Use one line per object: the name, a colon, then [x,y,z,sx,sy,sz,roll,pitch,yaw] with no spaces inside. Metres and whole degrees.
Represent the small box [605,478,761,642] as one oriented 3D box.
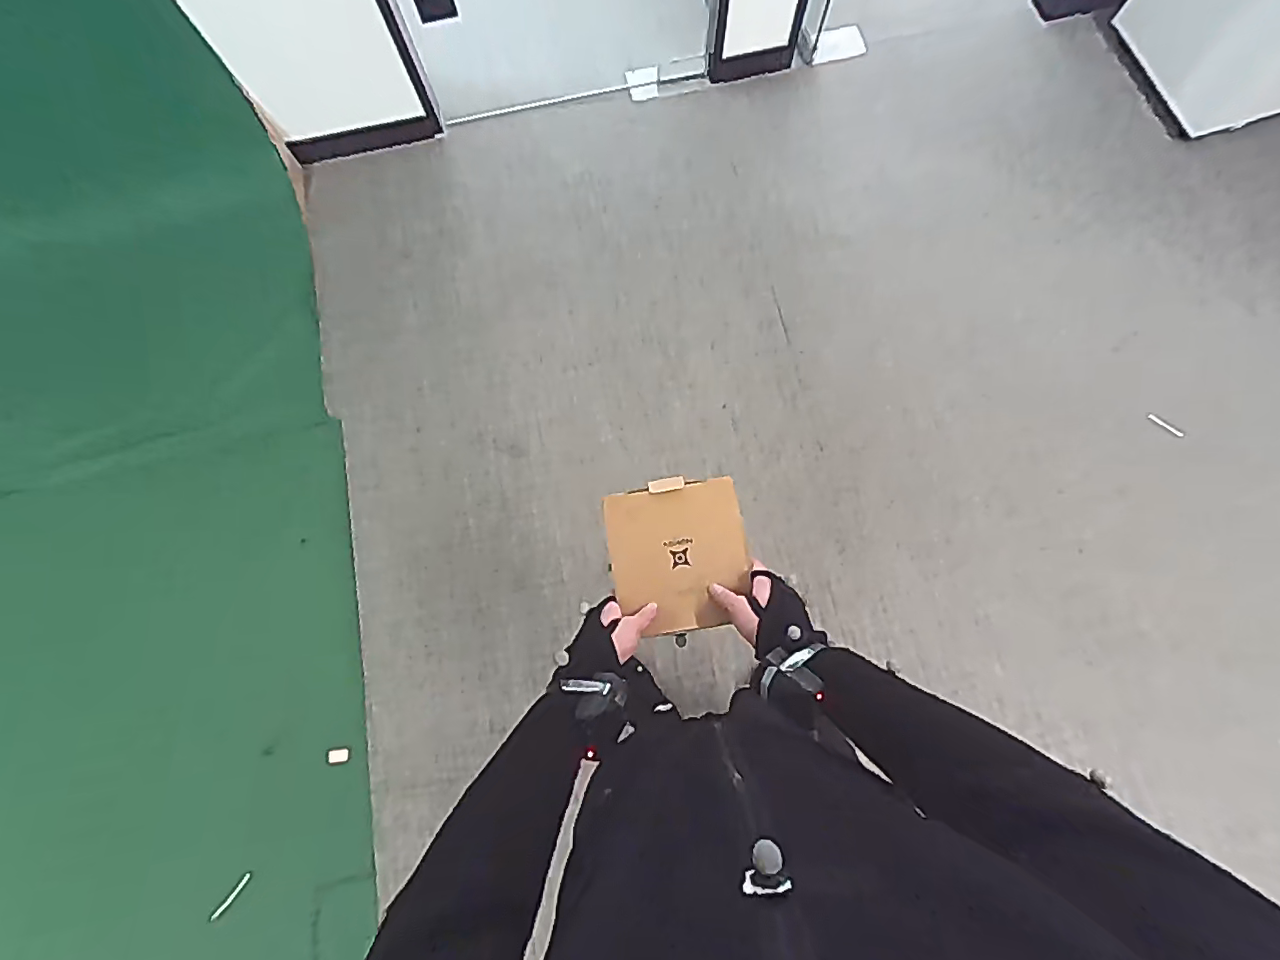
small box: [0.050,0.112,0.702,0.168,0.176,0.179,-8,73,2]
